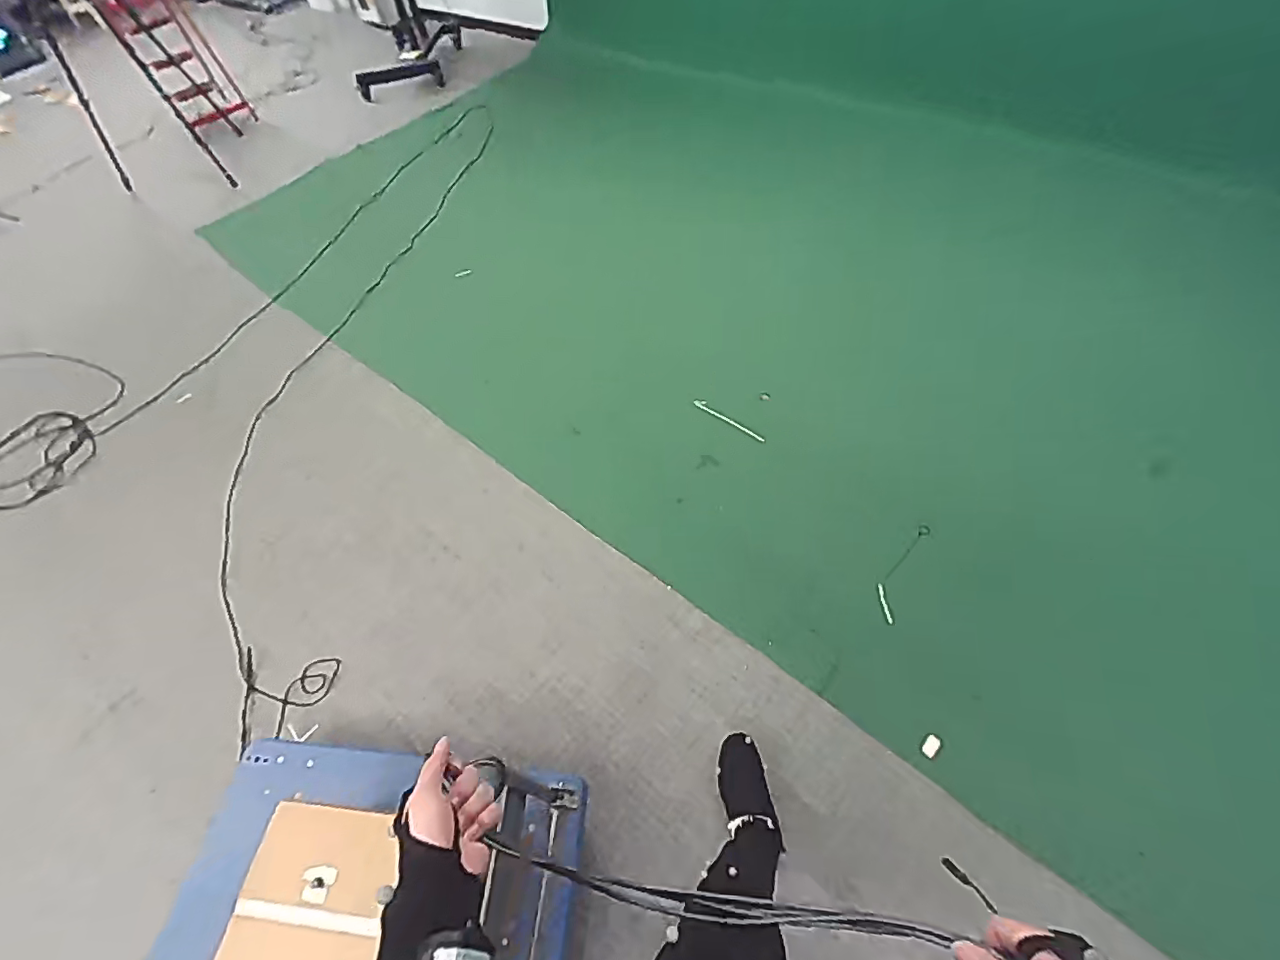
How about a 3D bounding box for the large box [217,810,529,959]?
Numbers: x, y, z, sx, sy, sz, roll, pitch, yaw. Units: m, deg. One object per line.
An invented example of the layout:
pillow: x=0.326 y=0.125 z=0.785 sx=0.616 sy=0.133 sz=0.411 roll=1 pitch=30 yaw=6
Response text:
large box: x=-0.461 y=0.816 z=0.999 sx=0.408 sy=0.320 sz=0.320 roll=1 pitch=55 yaw=9
